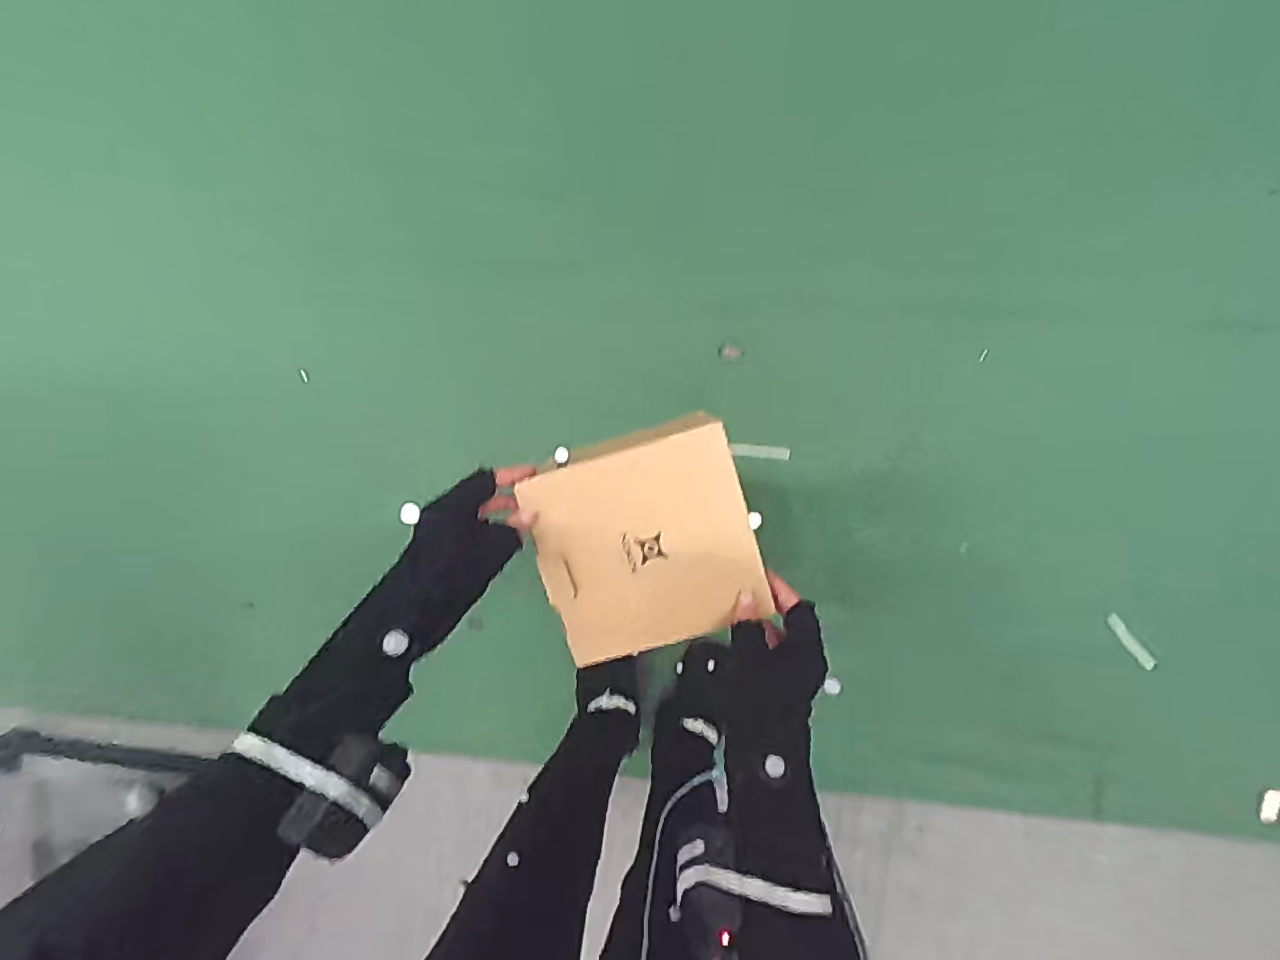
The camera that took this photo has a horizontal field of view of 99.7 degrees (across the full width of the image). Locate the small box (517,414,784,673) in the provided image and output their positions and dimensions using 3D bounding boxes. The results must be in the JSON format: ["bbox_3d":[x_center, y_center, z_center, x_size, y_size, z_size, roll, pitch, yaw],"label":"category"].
[{"bbox_3d":[0.012,0.043,0.502,0.179,0.176,0.168,-17,100,7],"label":"small box"}]
